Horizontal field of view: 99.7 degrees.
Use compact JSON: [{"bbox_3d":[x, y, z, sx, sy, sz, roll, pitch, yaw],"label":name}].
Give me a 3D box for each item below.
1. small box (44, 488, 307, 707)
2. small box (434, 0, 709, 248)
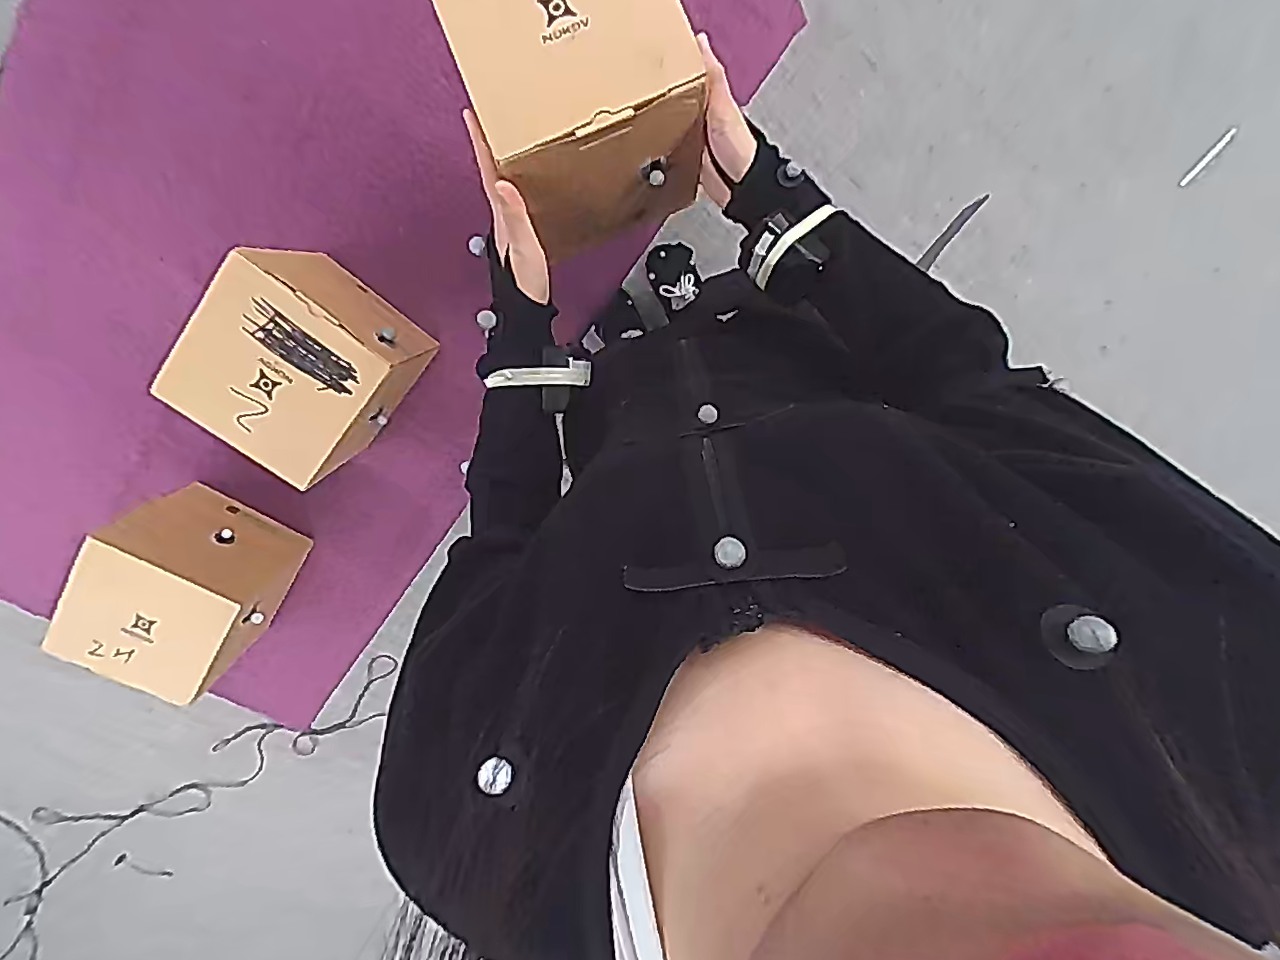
[{"bbox_3d":[-0.564,0.137,0.684,0.168,0.176,0.179,32,105,-13],"label":"small box"},{"bbox_3d":[-0.052,-0.328,0.463,0.168,0.176,0.179,-22,86,0],"label":"small box"}]
